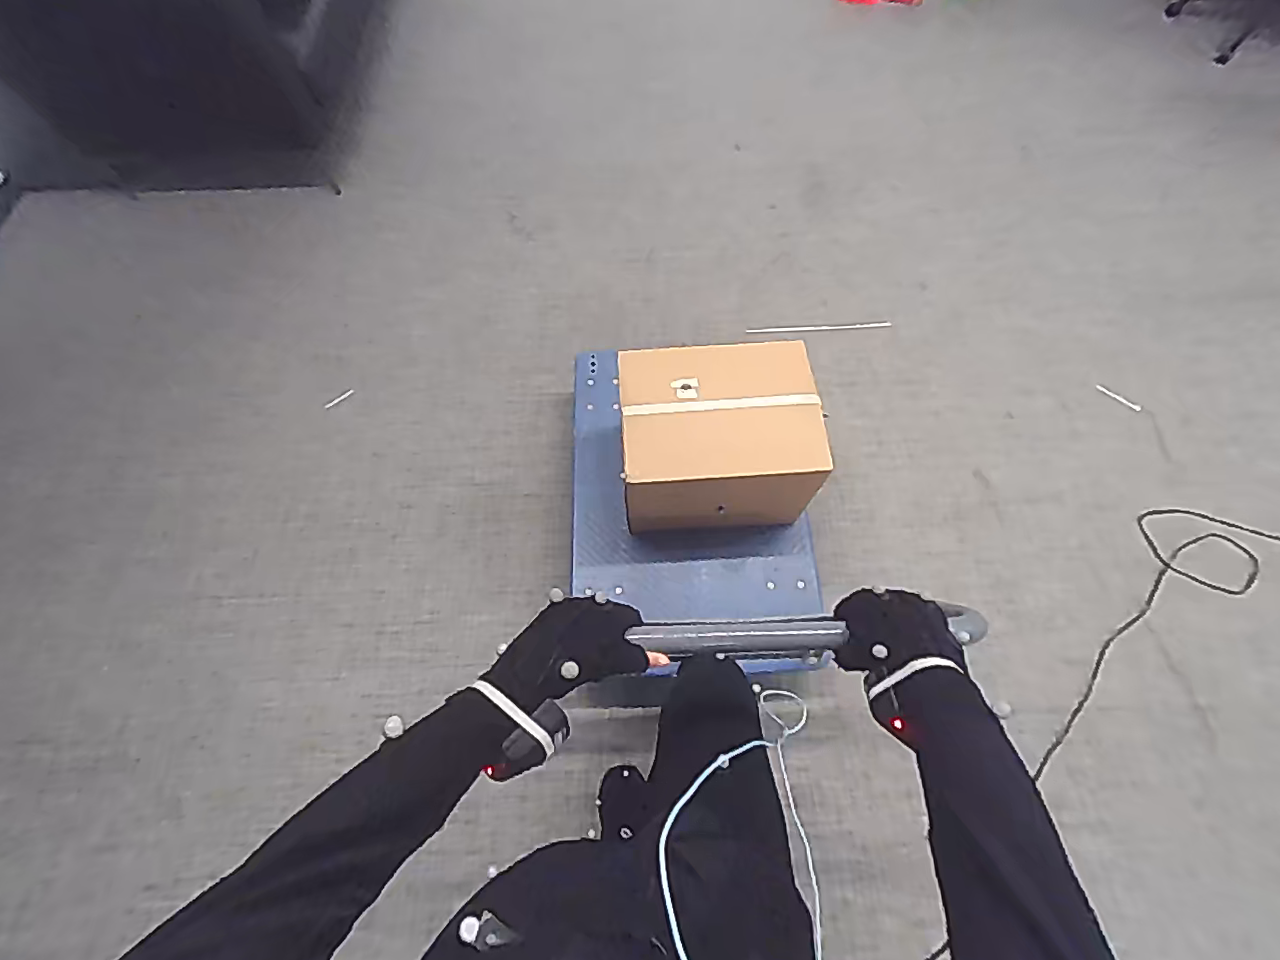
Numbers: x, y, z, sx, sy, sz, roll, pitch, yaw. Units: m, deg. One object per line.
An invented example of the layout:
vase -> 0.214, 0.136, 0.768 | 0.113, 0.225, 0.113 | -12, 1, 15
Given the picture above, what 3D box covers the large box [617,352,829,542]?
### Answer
large box -> 0.168, -0.061, 1.252 | 0.408, 0.320, 0.320 | -5, 65, 0
